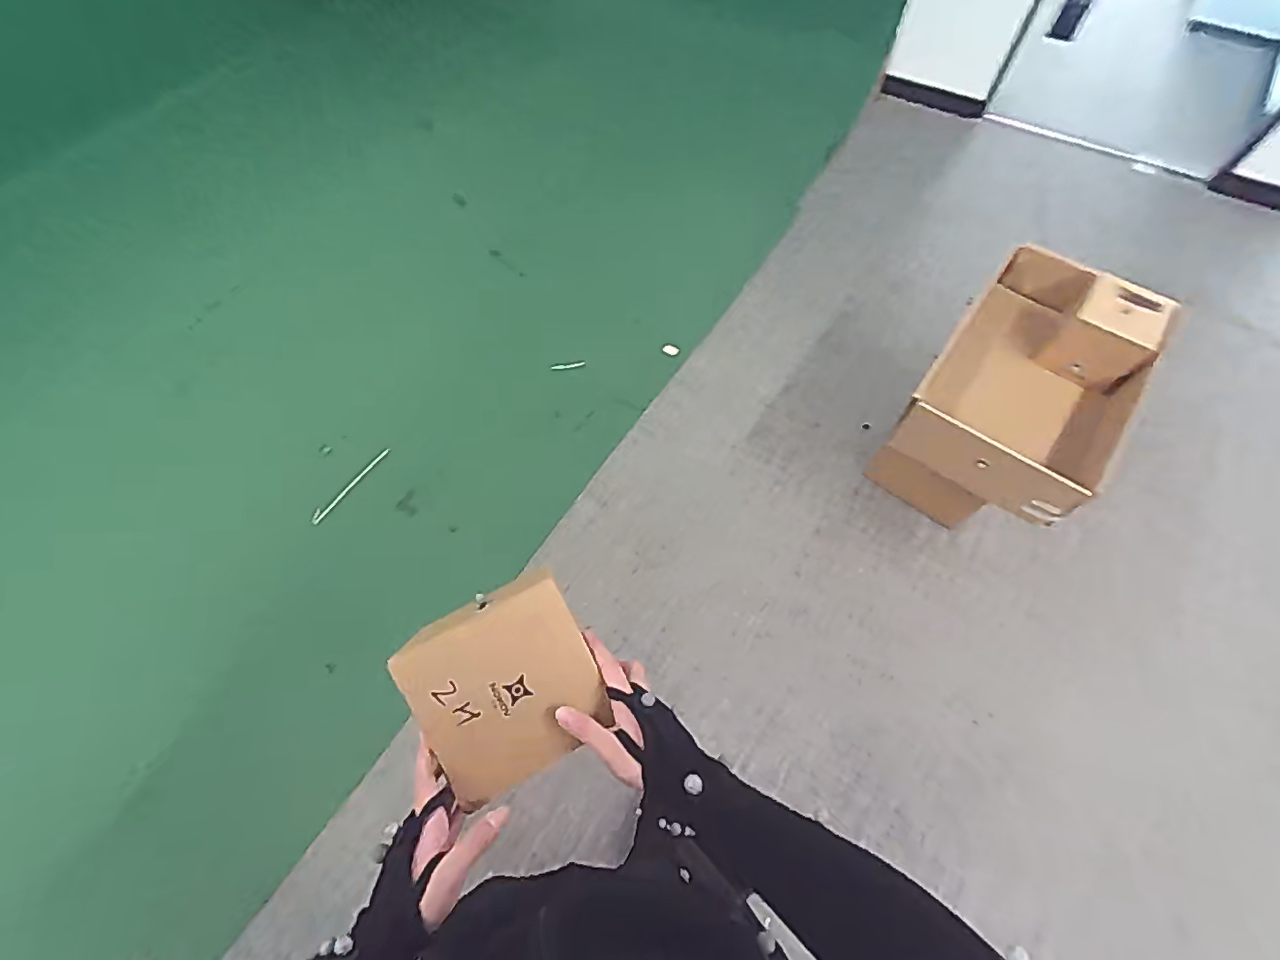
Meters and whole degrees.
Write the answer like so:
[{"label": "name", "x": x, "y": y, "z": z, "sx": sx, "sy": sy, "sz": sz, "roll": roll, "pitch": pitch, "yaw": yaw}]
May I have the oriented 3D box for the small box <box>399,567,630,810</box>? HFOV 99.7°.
[{"label": "small box", "x": -0.133, "y": 0.209, "z": 0.603, "sx": 0.179, "sy": 0.176, "sz": 0.168, "roll": -26, "pitch": 91, "yaw": -11}]
